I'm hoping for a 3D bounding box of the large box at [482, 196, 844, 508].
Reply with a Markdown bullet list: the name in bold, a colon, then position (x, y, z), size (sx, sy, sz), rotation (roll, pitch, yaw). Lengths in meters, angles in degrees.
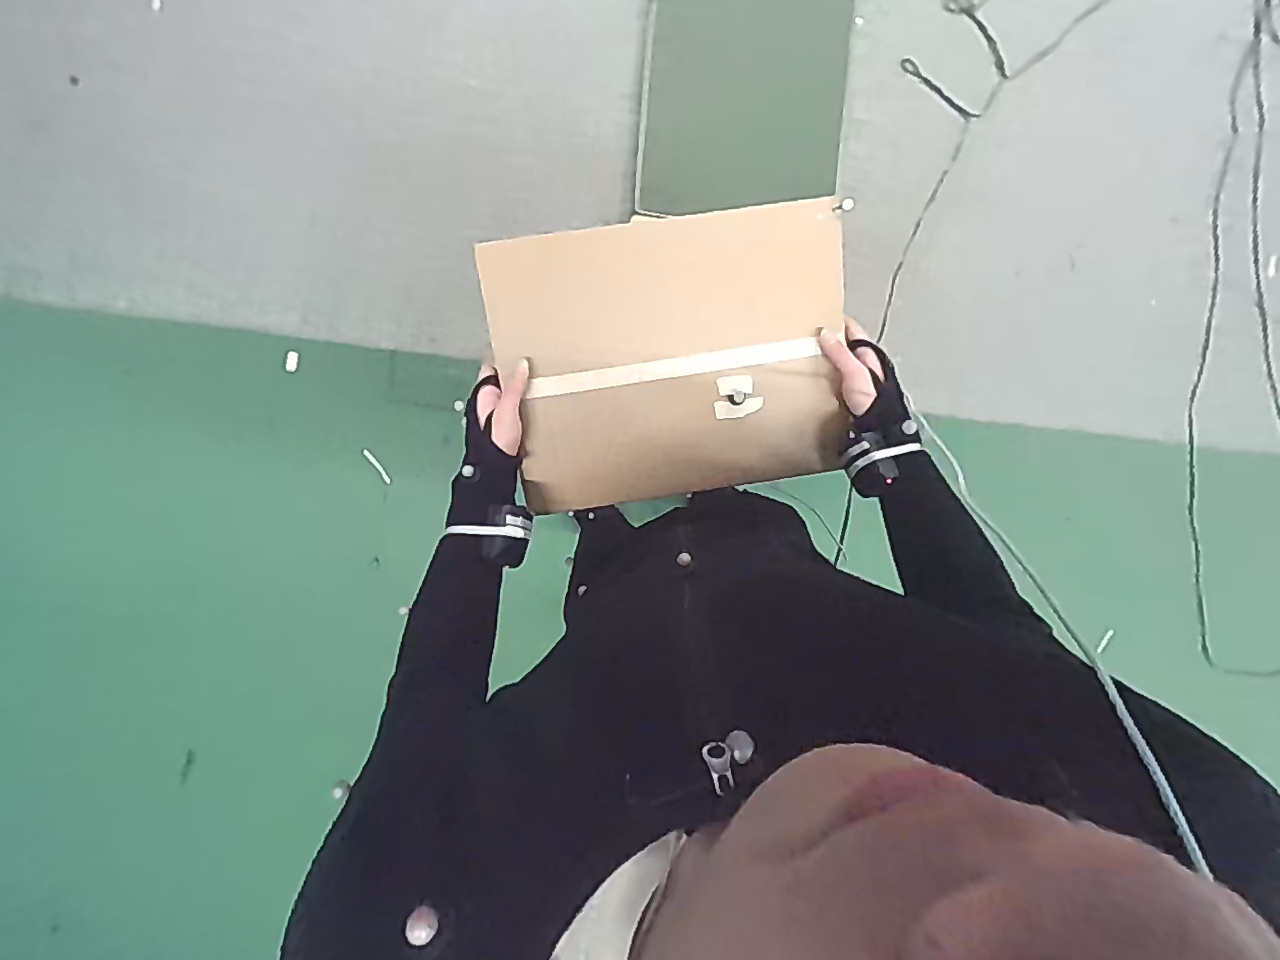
- **large box**: position (0.028, -0.177, 0.779), size (0.408, 0.320, 0.320), rotation (-9, 106, -3)
